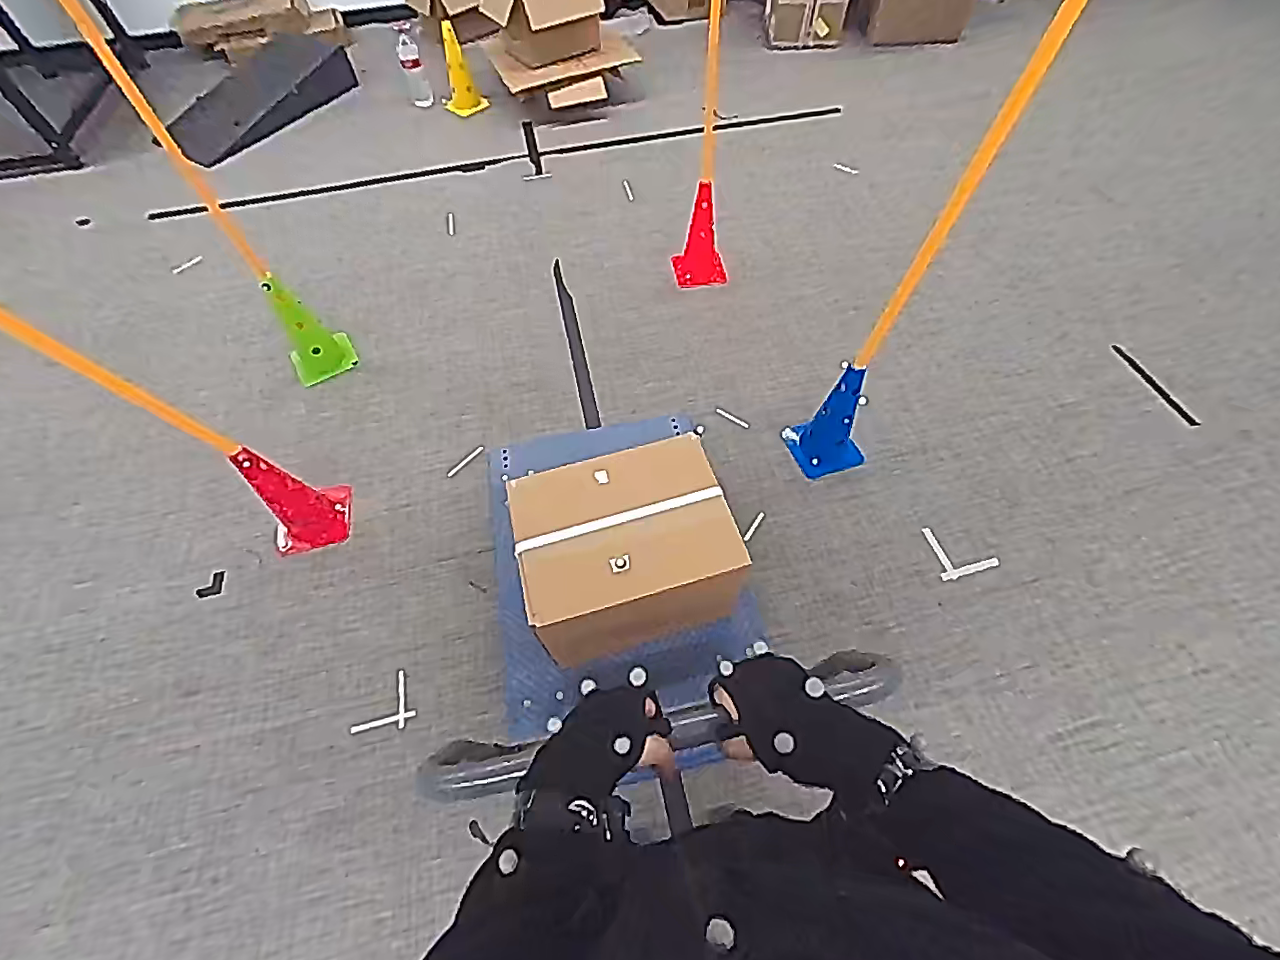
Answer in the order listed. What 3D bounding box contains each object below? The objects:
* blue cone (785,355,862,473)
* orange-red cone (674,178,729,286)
[{"bbox_3d":[0.565,-0.200,1.546,0.193,0.380,0.192,-15,58,-8],"label":"blue cone"},{"bbox_3d":[0.238,-0.927,1.988,0.199,0.360,0.198,-6,59,-3],"label":"orange-red cone"}]
